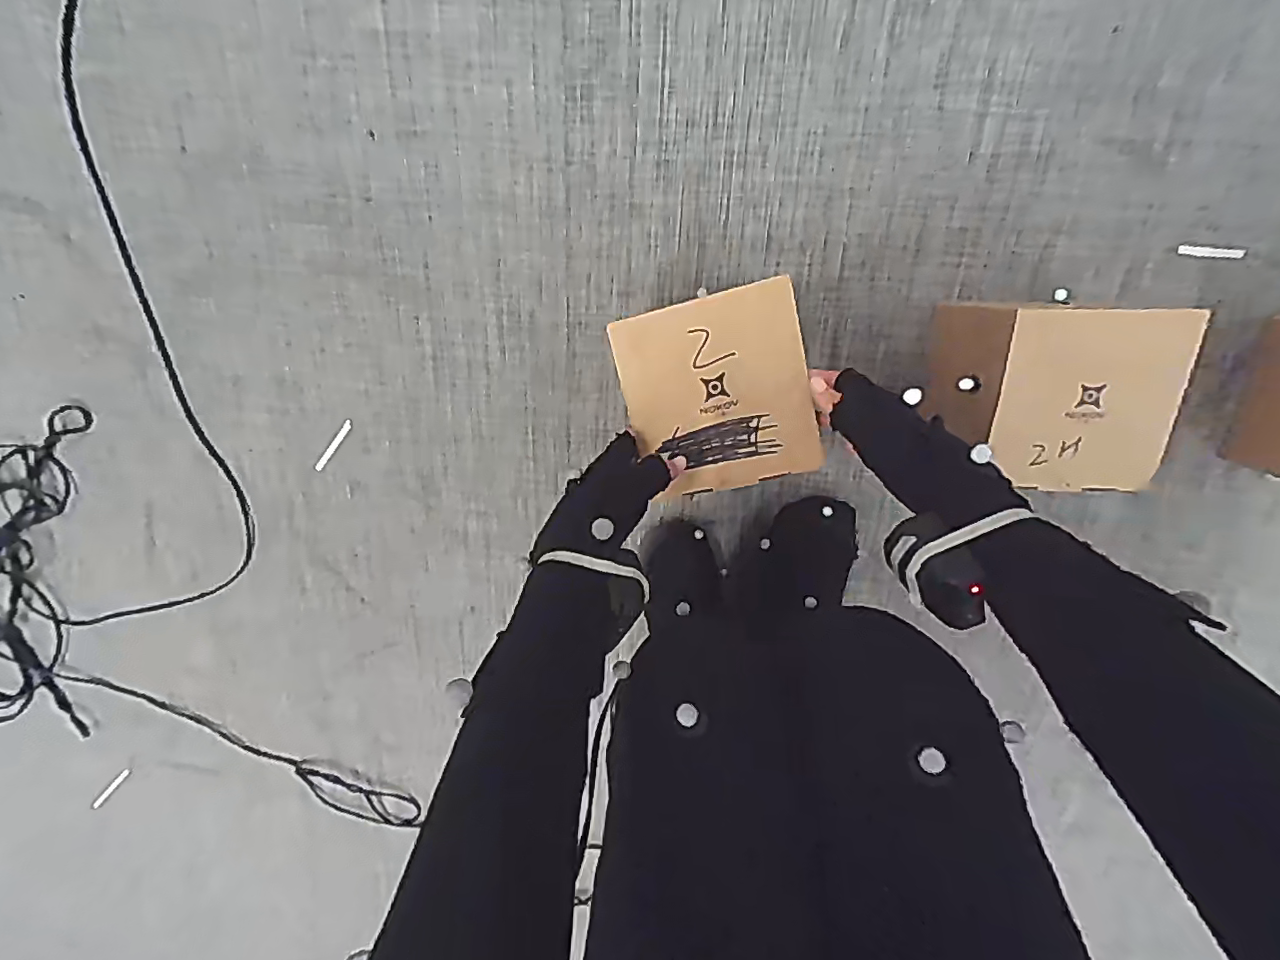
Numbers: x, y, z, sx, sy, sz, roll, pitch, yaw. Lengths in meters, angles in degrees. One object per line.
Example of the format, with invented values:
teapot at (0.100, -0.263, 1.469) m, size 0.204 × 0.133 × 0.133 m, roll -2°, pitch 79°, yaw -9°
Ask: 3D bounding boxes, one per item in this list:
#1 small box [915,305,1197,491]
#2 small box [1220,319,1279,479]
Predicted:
small box at (0.429, -0.100, 0.597) m, size 0.168 × 0.176 × 0.179 m, roll 2°, pitch 110°, yaw 5°
small box at (0.803, -0.079, 0.582) m, size 0.168 × 0.176 × 0.179 m, roll -1°, pitch 109°, yaw 4°
